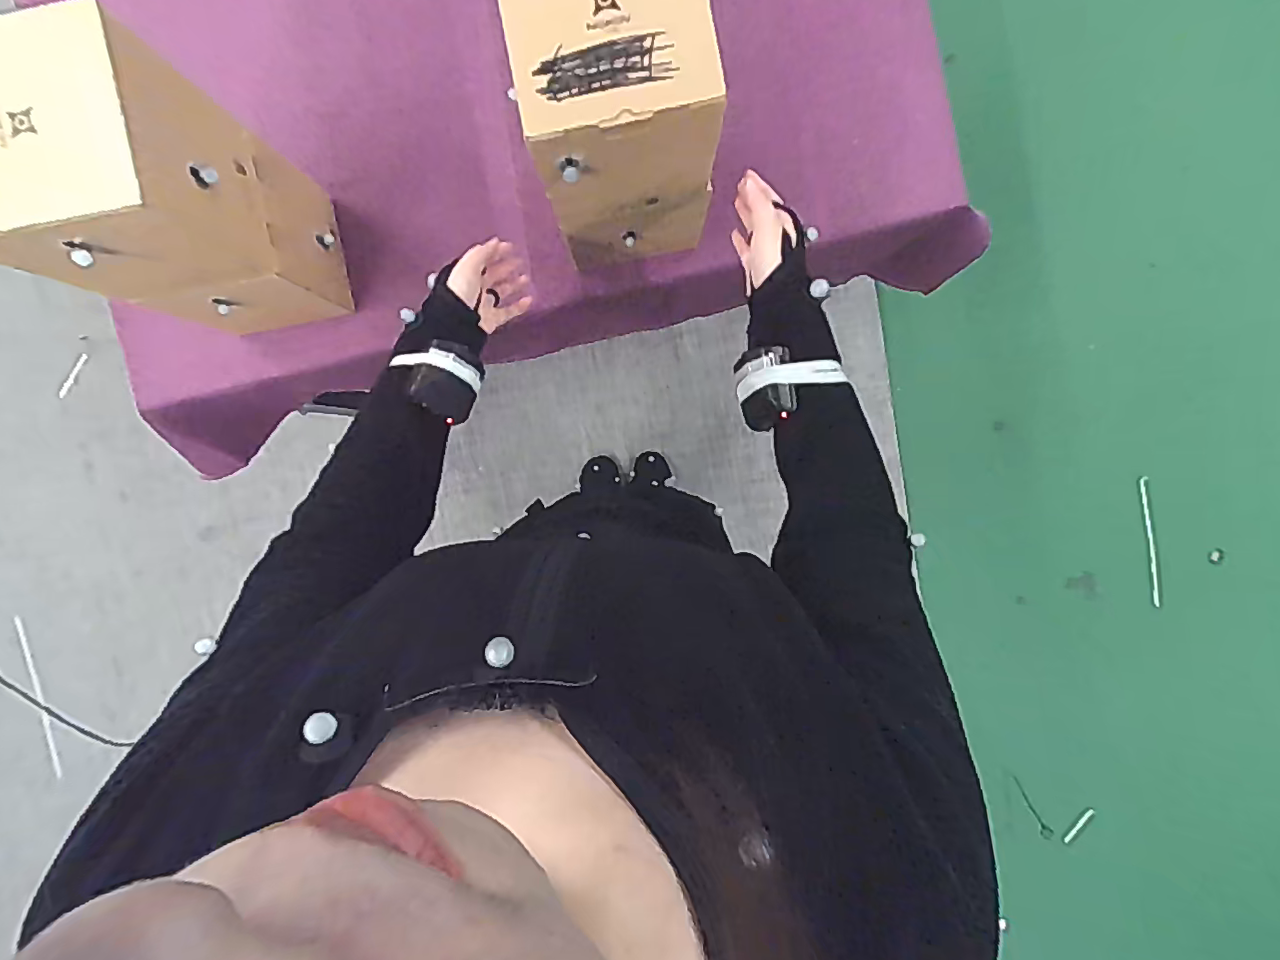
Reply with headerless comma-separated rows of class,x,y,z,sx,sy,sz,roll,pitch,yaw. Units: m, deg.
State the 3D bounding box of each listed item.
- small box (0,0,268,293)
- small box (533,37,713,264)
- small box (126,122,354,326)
small box,-0.492,-0.292,0.510,0.179,0.176,0.168,-10,93,2
small box,-0.018,-0.387,0.667,0.179,0.176,0.168,-10,93,2
small box,-0.496,-0.301,0.673,0.179,0.176,0.168,-10,94,1
